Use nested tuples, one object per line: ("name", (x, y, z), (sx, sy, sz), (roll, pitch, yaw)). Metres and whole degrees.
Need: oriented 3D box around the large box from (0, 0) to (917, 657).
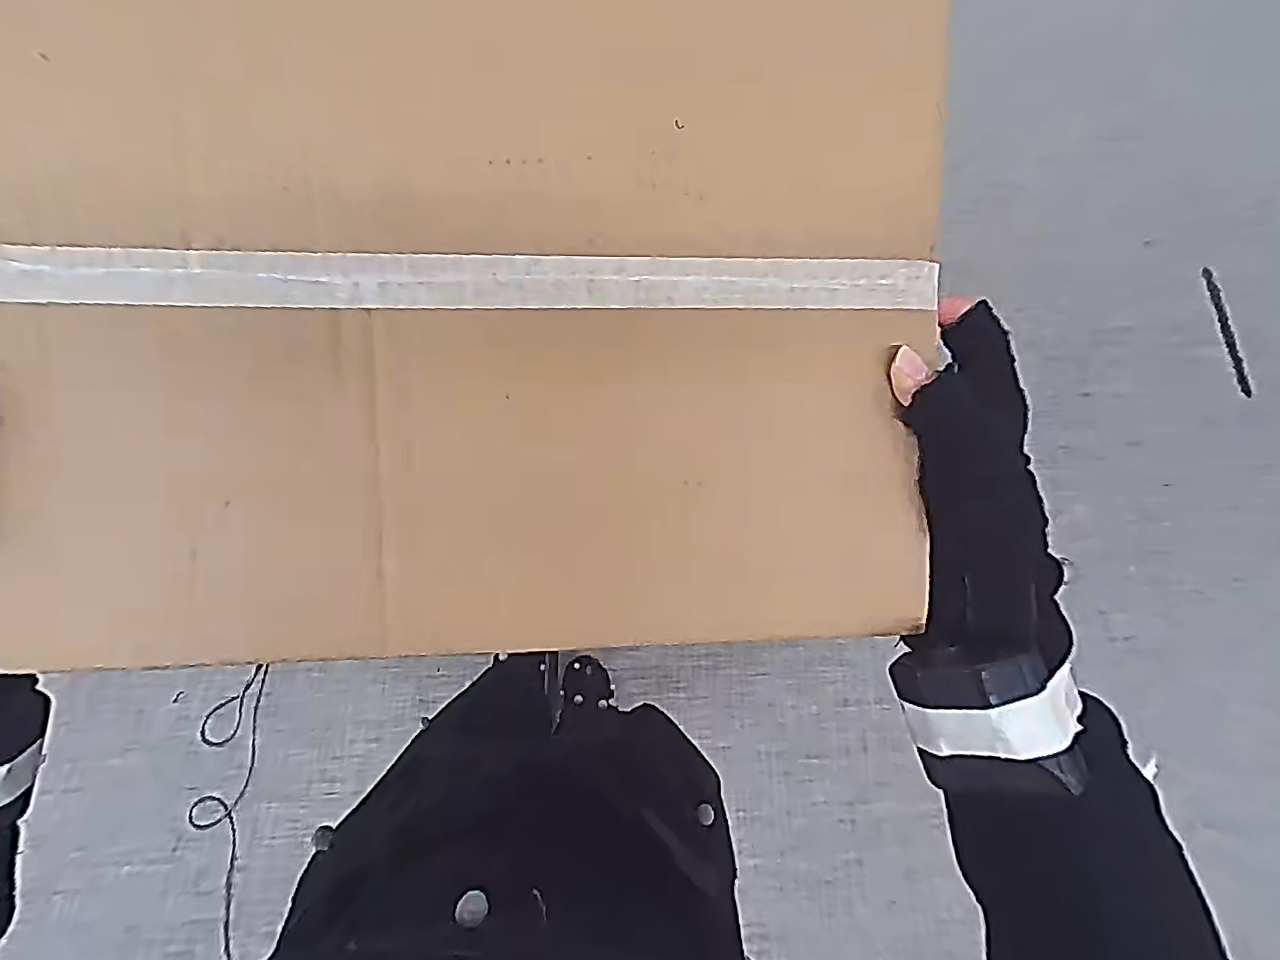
("large box", (-0.086, -0.094, 0.381), (0.408, 0.320, 0.320), (0, 94, -6))
